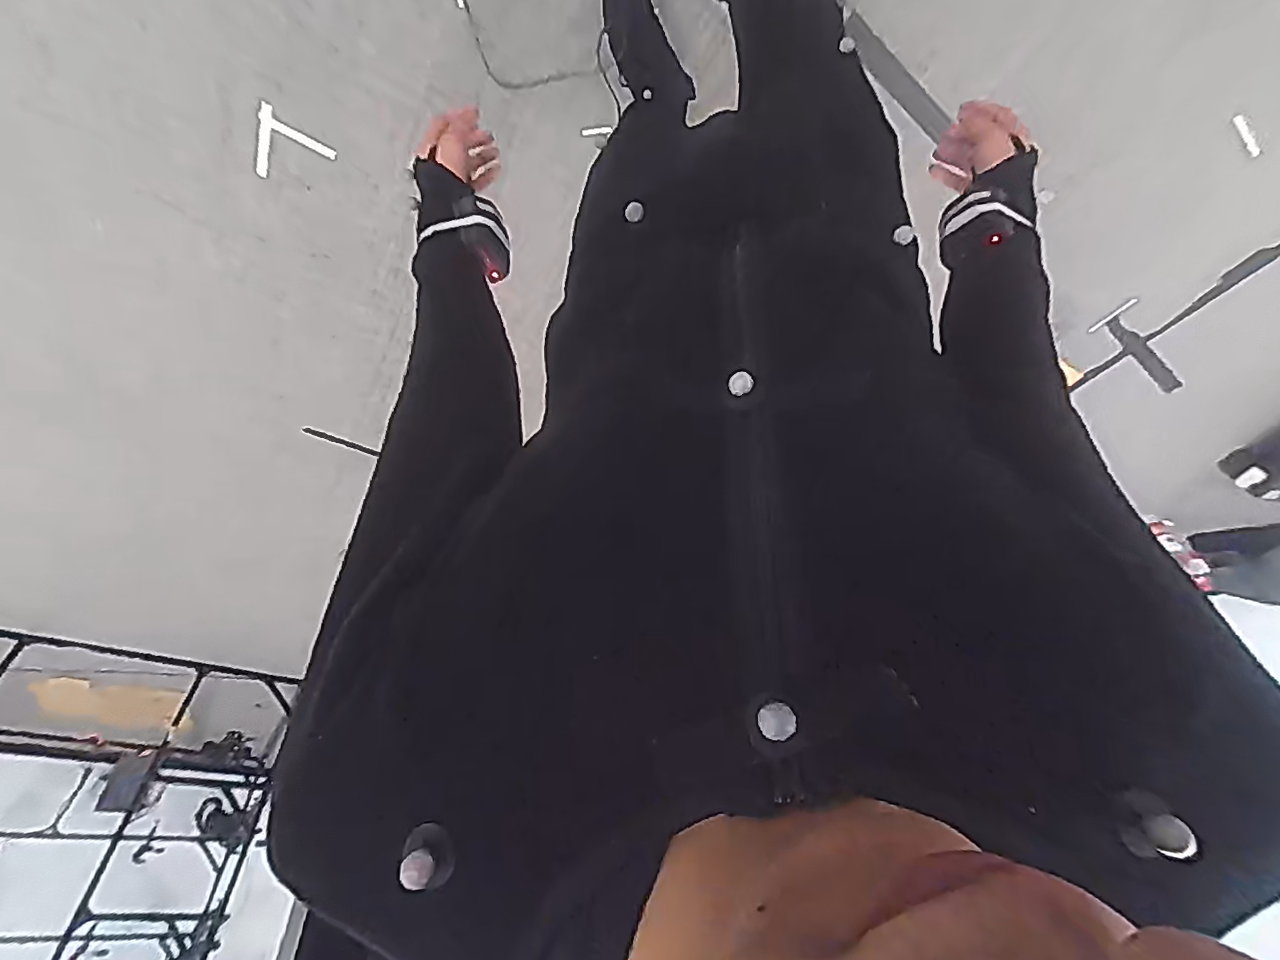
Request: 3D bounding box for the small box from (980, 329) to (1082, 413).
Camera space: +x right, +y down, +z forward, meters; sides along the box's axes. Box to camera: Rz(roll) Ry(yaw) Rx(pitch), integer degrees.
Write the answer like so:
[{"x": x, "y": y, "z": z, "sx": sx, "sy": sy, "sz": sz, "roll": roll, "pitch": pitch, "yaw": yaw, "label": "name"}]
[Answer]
[{"x": 1.239, "y": -0.351, "z": 1.723, "sx": 0.179, "sy": 0.176, "sz": 0.168, "roll": 21, "pitch": 134, "yaw": -23, "label": "small box"}]
